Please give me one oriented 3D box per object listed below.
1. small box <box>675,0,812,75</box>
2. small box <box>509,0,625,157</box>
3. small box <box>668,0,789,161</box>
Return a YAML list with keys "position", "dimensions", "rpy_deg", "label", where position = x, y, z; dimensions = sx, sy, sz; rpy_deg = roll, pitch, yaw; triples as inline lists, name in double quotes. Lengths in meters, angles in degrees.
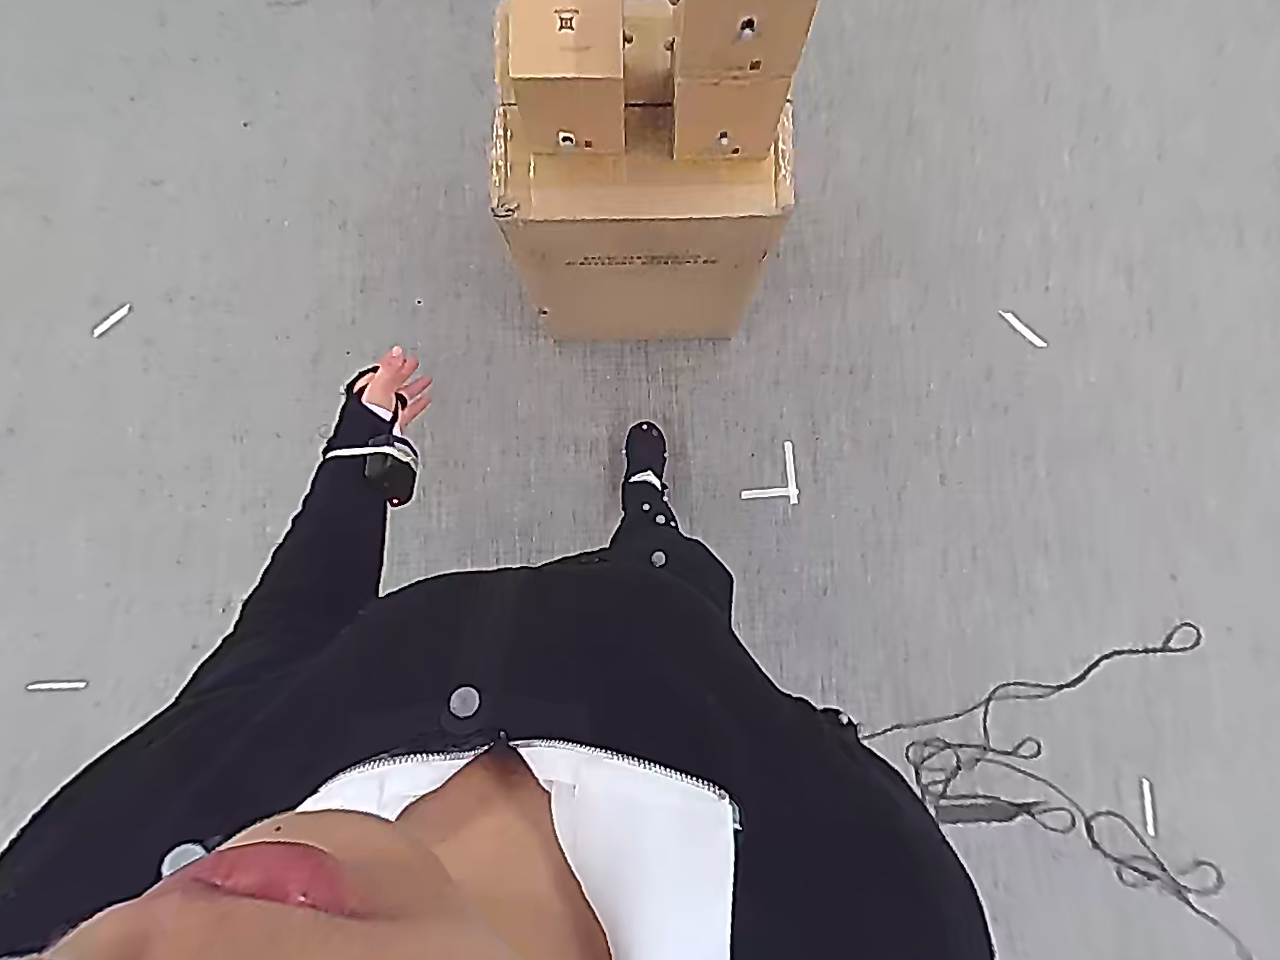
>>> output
- position: [0.133, -0.662, 0.695]
  dimensions: [0.168, 0.176, 0.179]
  rpy_deg: [0, 86, 1]
  label: "small box"
- position: [-0.109, -0.651, 0.860]
  dimensions: [0.168, 0.176, 0.179]
  rpy_deg: [-2, 86, 0]
  label: "small box"
- position: [0.131, -0.644, 0.858]
  dimensions: [0.168, 0.176, 0.179]
  rpy_deg: [-2, 85, 1]
  label: "small box"
